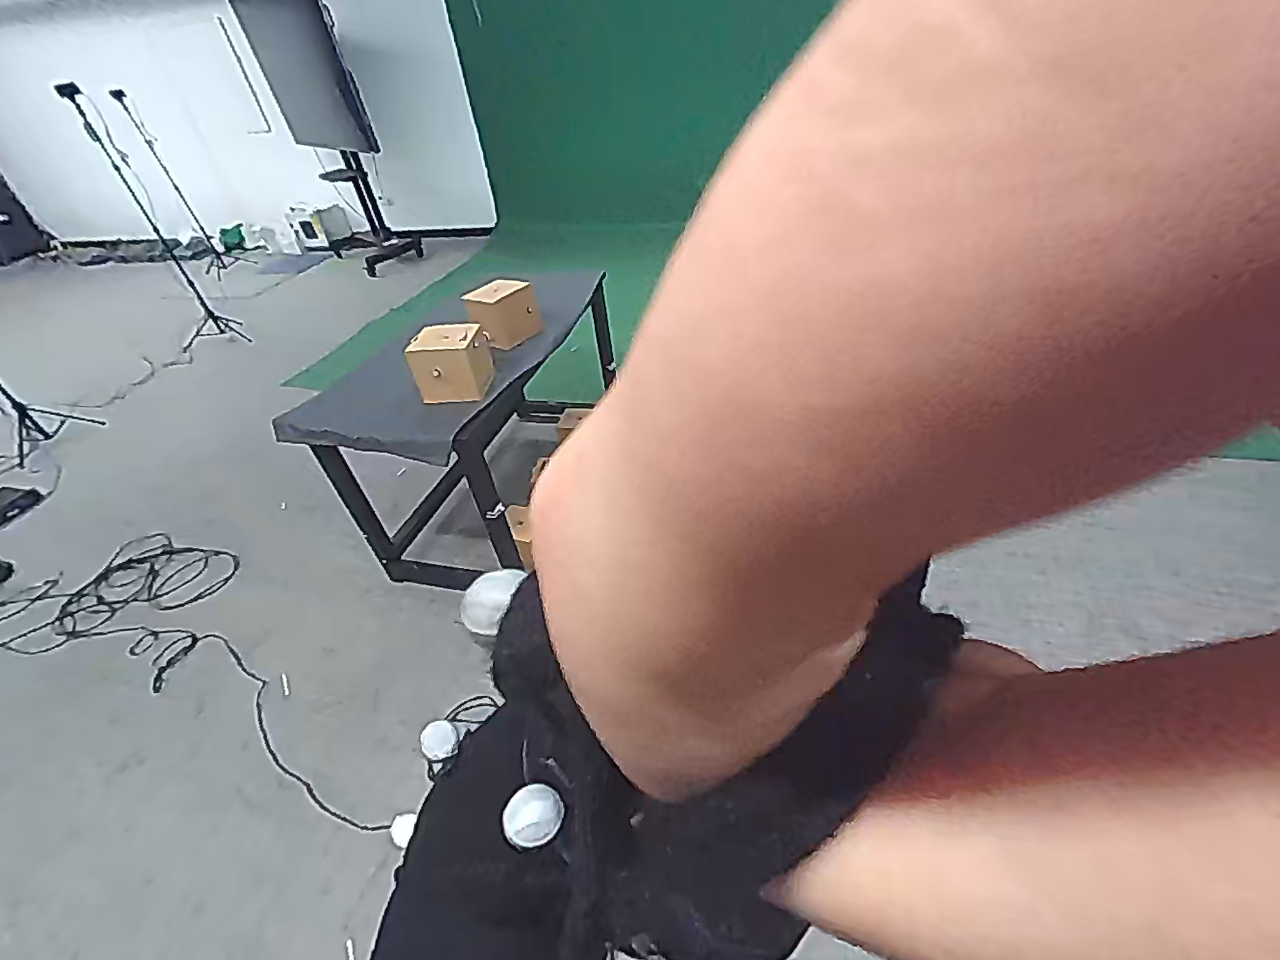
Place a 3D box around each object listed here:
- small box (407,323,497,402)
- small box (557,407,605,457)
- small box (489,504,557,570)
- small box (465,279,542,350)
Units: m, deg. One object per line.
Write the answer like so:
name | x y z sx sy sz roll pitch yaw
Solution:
small box | -0.539 -0.340 1.577 0.179 0.176 0.168 -2 40 6
small box | -0.271 -0.223 2.532 0.179 0.176 0.168 3 40 12
small box | -0.433 0.217 2.040 0.179 0.176 0.168 9 43 19
small box | -0.453 -0.562 1.830 0.168 0.176 0.179 19 48 32
